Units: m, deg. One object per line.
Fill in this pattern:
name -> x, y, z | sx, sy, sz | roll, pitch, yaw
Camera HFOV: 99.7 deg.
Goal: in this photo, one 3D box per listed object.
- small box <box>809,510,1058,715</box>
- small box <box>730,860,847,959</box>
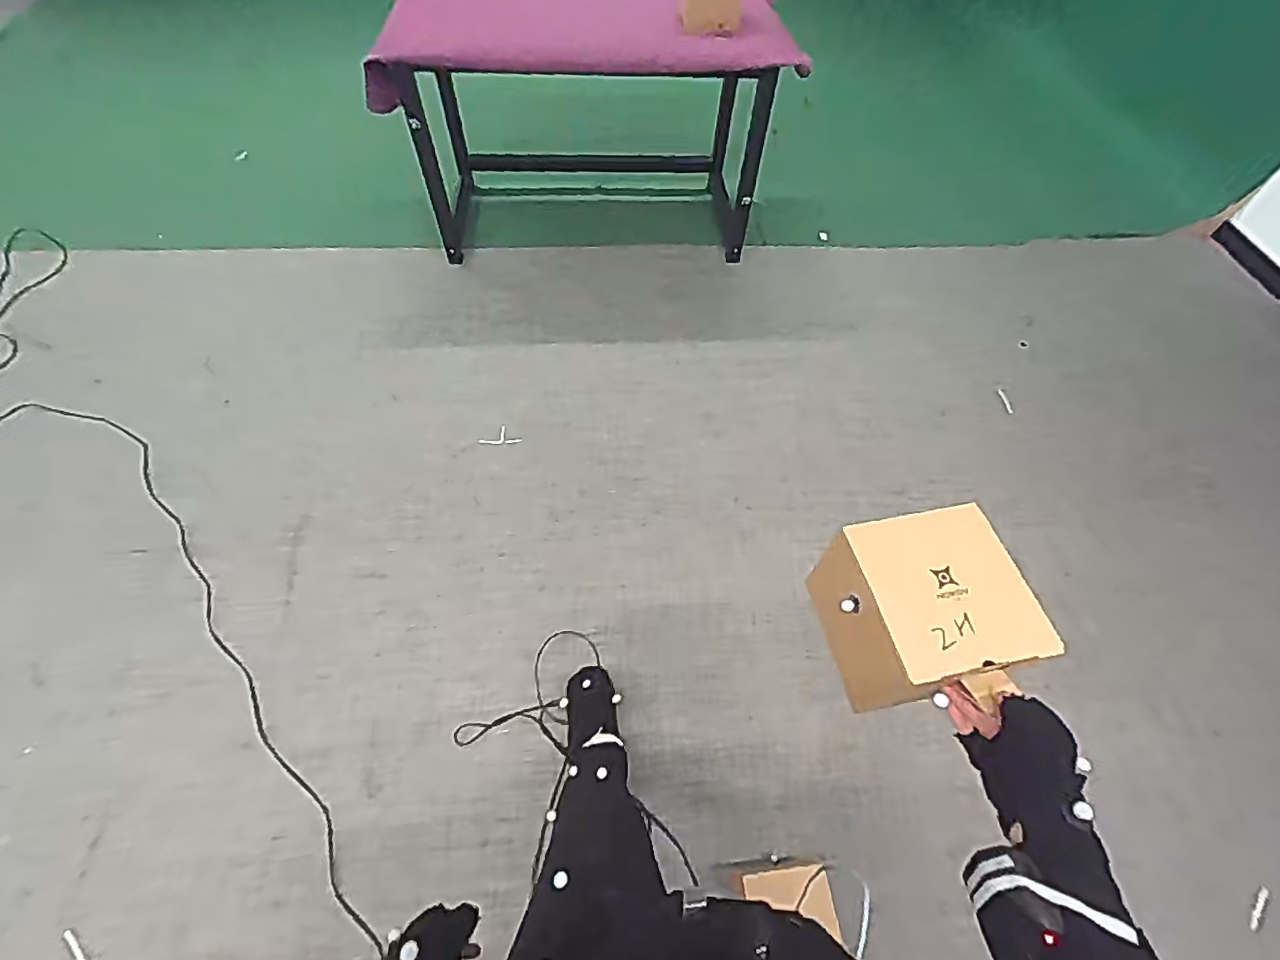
small box -> 0.320, 0.160, 0.638 | 0.168, 0.176, 0.179 | -9, 59, -5
small box -> 0.283, 0.866, 1.060 | 0.168, 0.176, 0.179 | -4, 58, -6
